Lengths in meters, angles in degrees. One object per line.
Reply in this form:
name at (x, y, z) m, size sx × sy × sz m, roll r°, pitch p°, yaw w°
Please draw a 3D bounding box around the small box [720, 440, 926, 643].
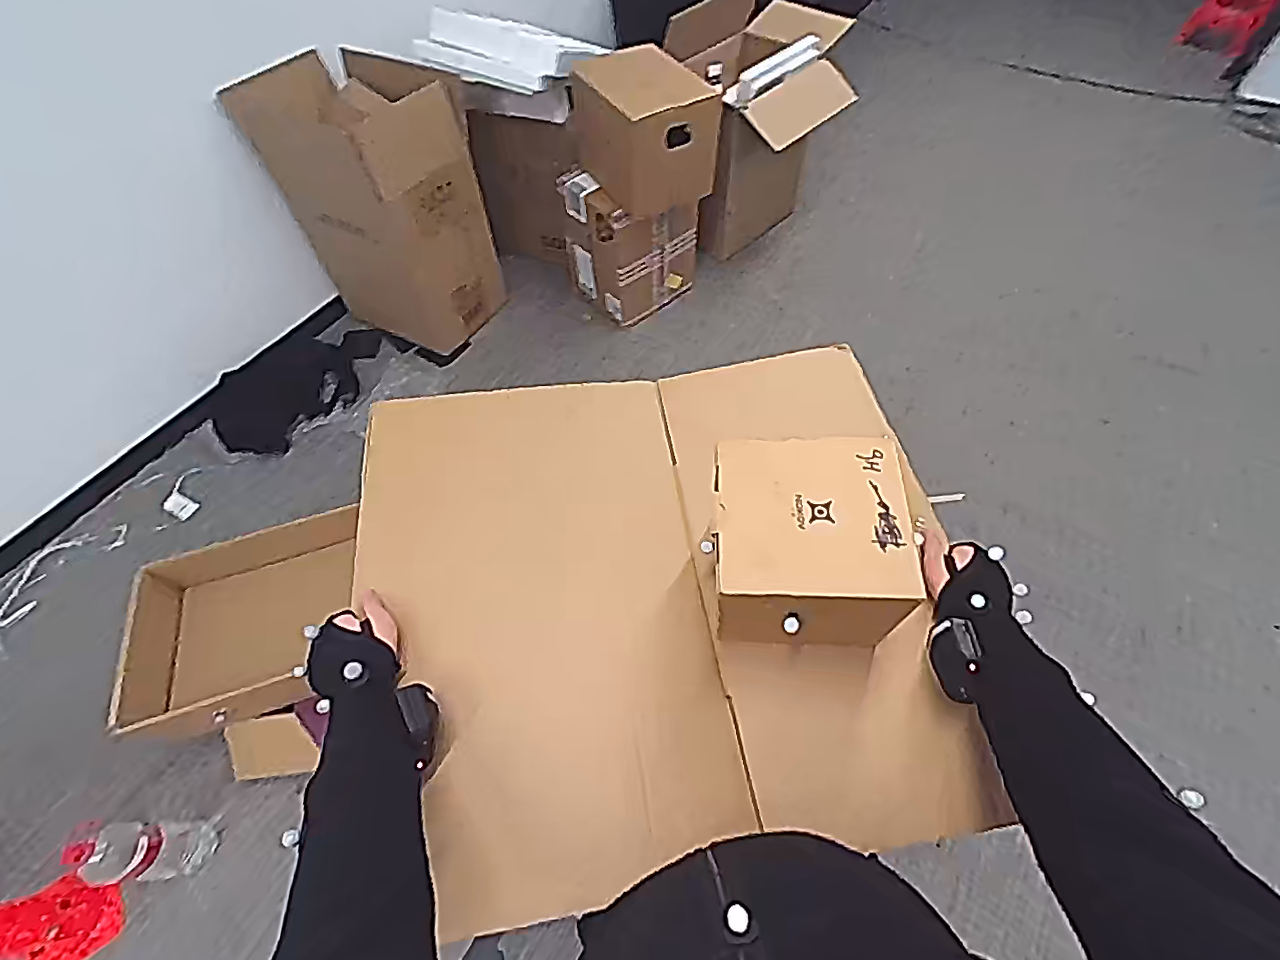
small box at (0.177, 0.072, 0.580) m, size 0.179 × 0.176 × 0.168 m, roll 0°, pitch 61°, yaw 9°
